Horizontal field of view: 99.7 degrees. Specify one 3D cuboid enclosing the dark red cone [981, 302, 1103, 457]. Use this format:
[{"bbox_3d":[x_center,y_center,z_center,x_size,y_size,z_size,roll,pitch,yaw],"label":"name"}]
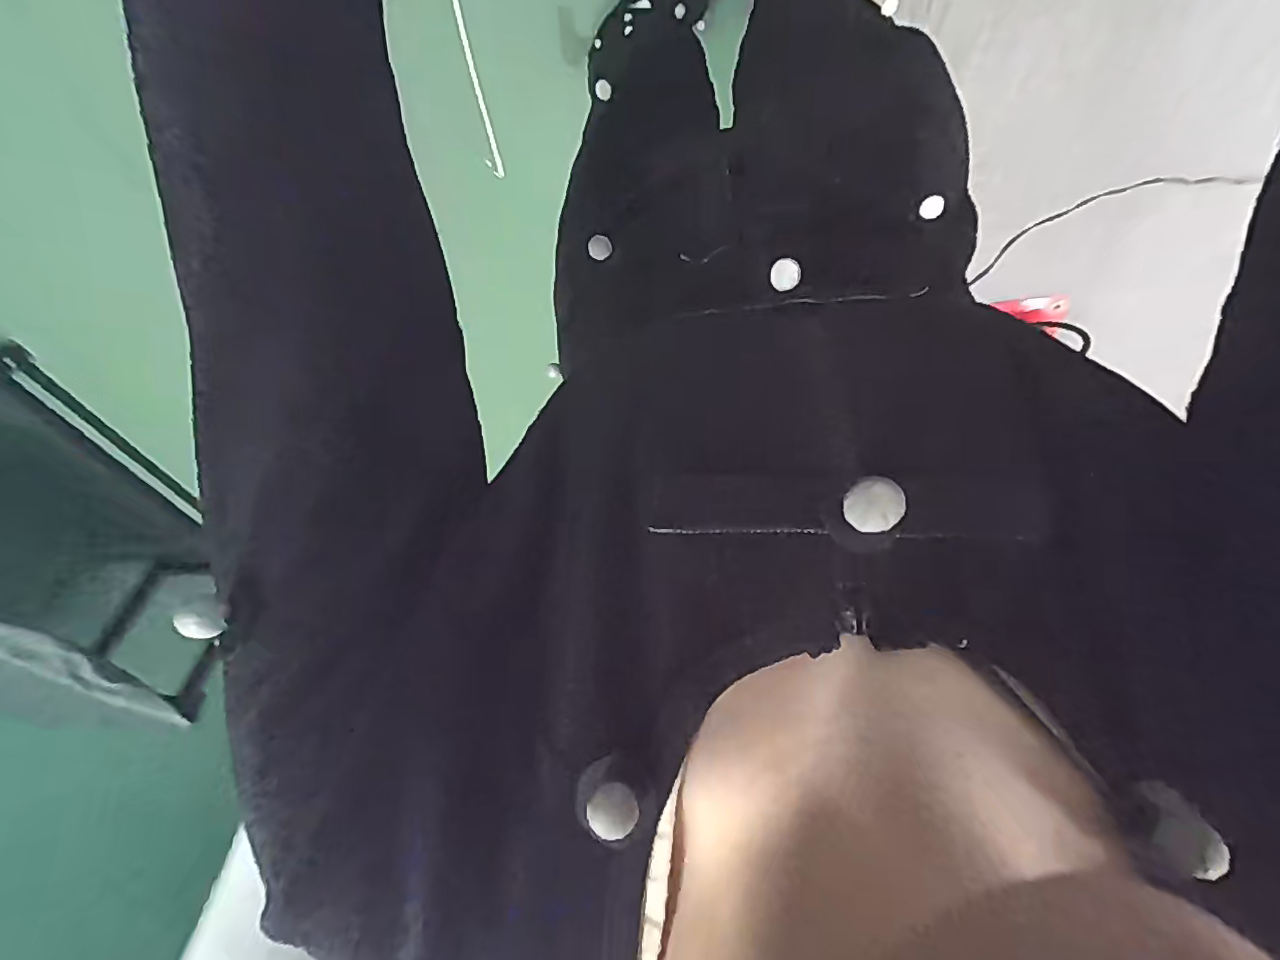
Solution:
[{"bbox_3d":[0.929,-0.210,1.200,0.201,0.394,0.202,-4,140,15],"label":"dark red cone"}]
